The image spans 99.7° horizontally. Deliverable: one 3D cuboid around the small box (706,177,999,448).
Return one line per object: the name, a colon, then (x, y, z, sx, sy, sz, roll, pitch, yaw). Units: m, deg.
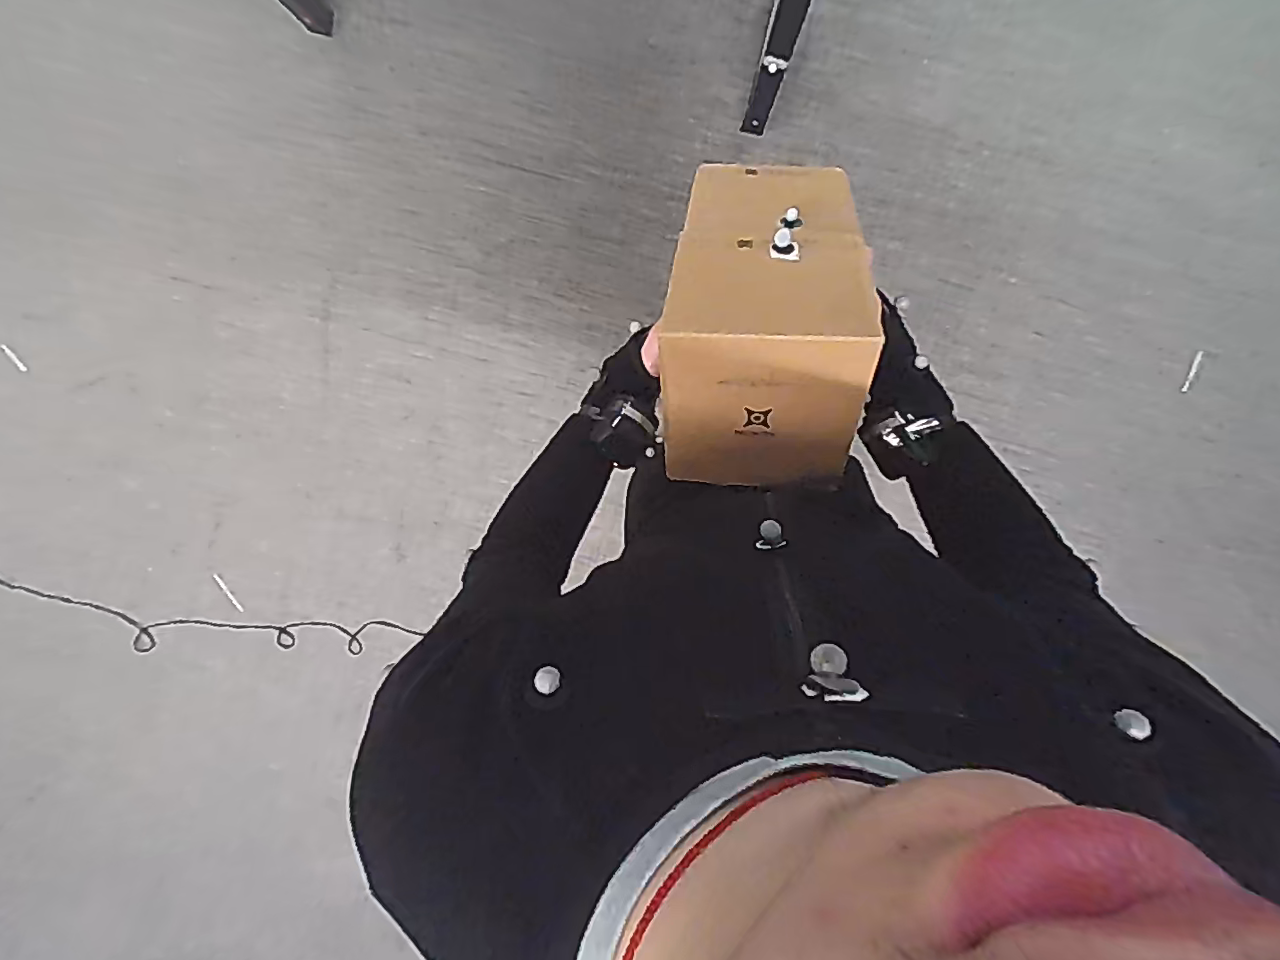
small box: (0.193, -0.162, 0.528, 0.179, 0.168, 0.176, 16, 124, -20)
